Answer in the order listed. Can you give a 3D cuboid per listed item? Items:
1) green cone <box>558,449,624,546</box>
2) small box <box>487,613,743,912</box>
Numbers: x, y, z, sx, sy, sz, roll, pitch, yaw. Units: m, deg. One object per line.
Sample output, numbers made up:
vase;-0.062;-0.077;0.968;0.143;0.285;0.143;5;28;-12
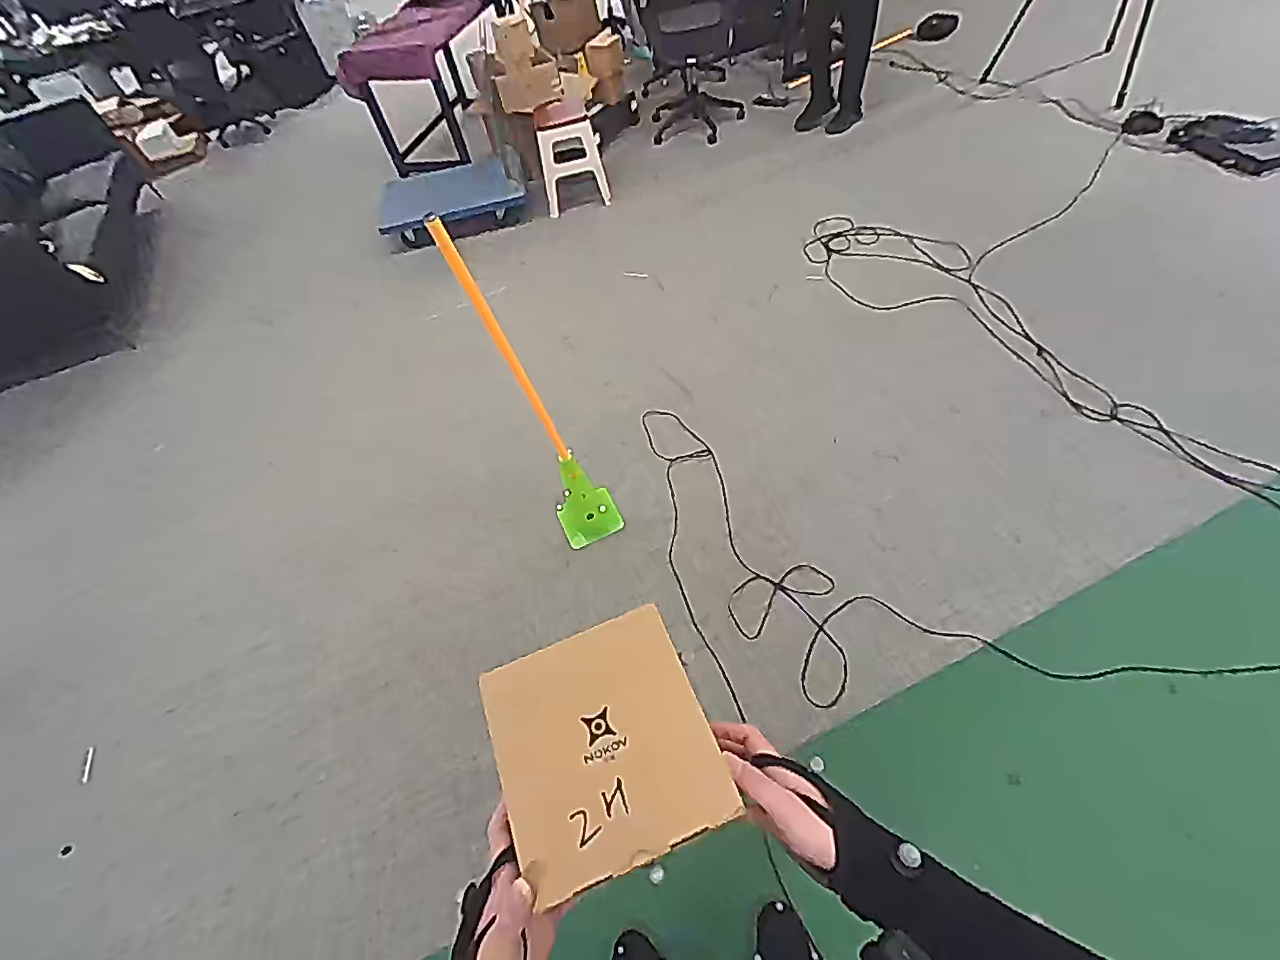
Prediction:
green cone;-0.198;0.027;1.797;0.202;0.368;0.200;-24;55;-9
small box;-0.022;0.255;0.497;0.168;0.176;0.179;-20;57;-7
